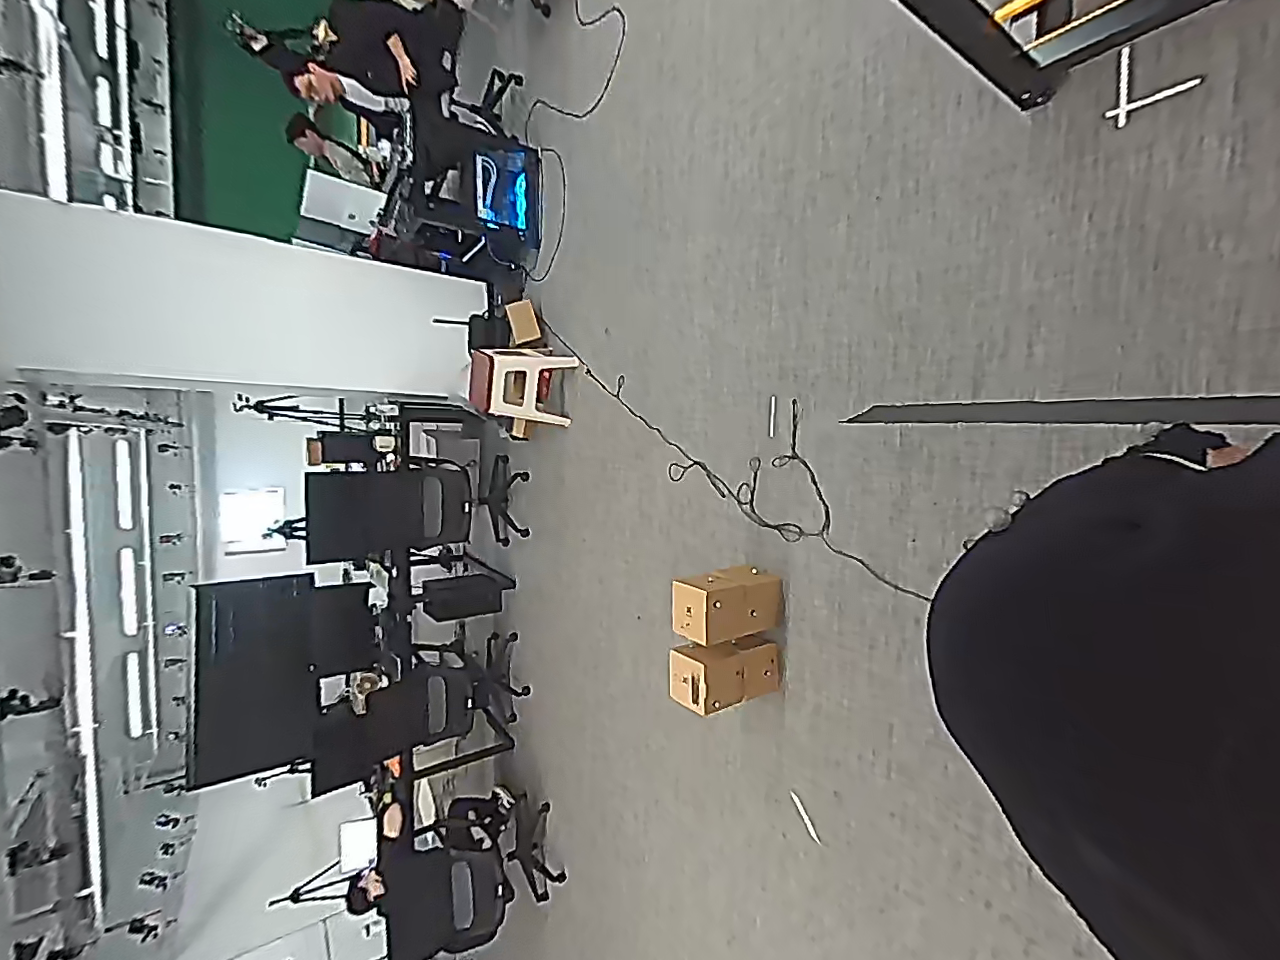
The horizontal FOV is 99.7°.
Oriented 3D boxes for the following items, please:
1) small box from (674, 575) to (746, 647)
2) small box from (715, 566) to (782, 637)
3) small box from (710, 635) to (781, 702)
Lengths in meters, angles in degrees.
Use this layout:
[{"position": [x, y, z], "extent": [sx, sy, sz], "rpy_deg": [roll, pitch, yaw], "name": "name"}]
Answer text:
[{"position": [0.228, 0.414, 1.744], "extent": [0.168, 0.176, 0.179], "rpy_deg": [7, 98, 55], "name": "small box"}, {"position": [0.363, 0.405, 1.839], "extent": [0.168, 0.176, 0.179], "rpy_deg": [17, 105, 53], "name": "small box"}, {"position": [0.363, 0.638, 1.859], "extent": [0.179, 0.176, 0.168], "rpy_deg": [-5, 88, 55], "name": "small box"}]
